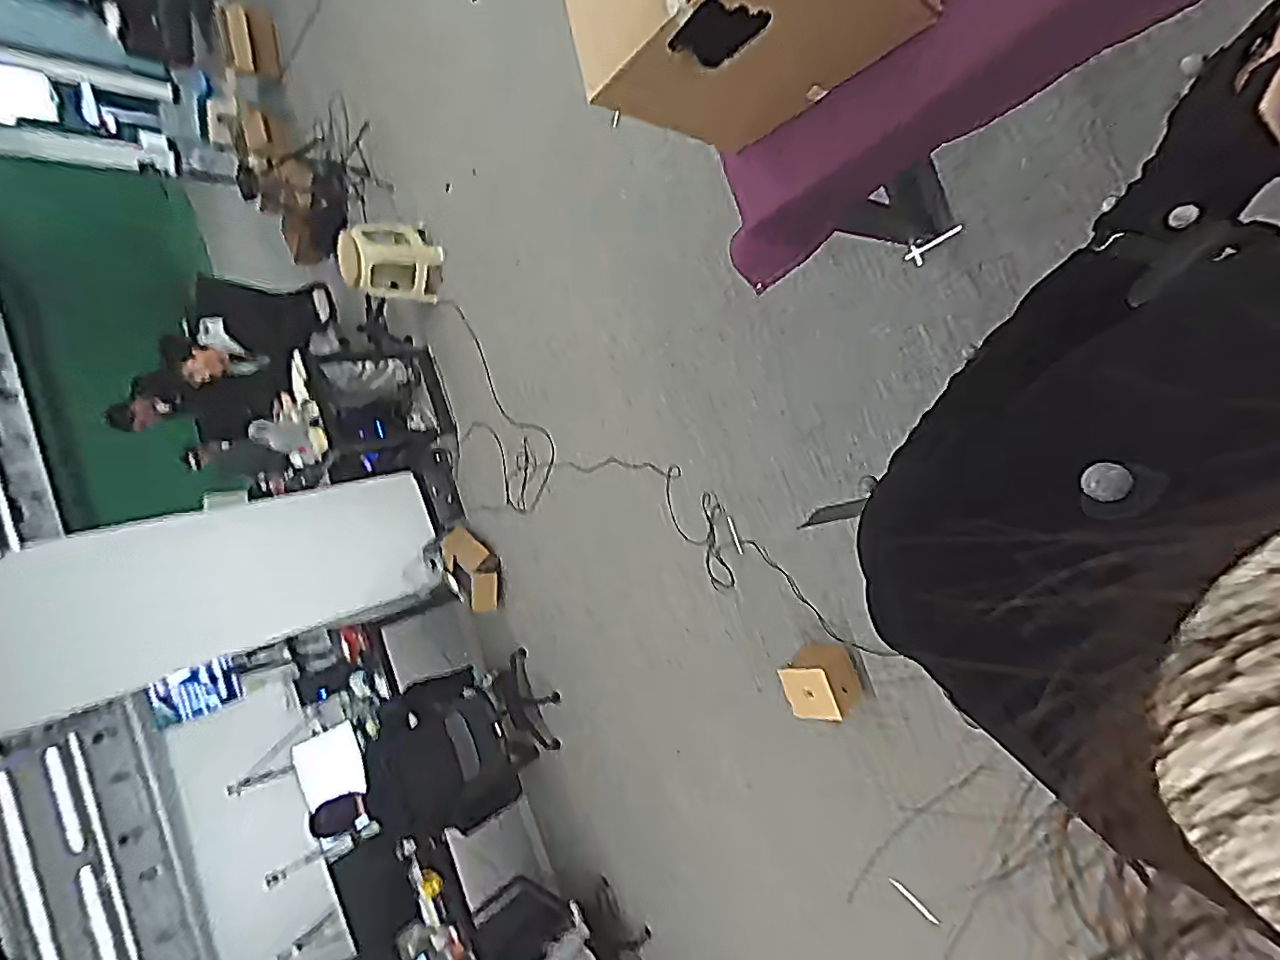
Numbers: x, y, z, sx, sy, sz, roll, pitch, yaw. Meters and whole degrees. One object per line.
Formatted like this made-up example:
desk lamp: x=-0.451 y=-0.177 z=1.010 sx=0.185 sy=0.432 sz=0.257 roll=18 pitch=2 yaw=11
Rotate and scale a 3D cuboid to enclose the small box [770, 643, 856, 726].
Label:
small box: x=0.547 y=0.653 z=1.739 sx=0.179 sy=0.176 sz=0.168 roll=53 pitch=157 yaw=-4
